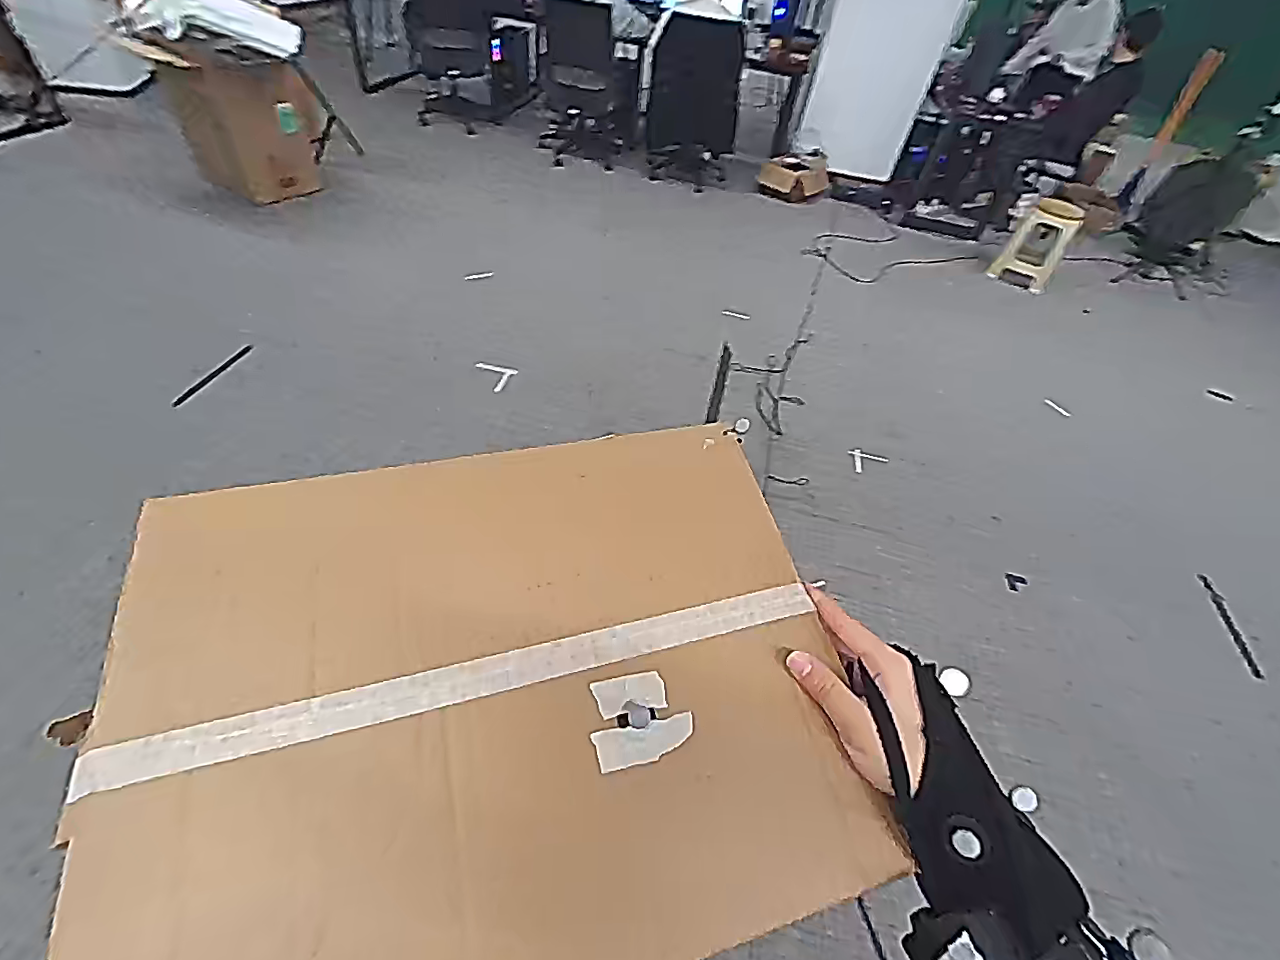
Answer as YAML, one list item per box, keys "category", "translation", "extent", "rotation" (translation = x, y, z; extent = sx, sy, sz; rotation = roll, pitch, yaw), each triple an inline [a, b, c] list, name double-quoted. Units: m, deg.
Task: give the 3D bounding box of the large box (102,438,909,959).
- category: "large box"
  translation: [-0.094, 0.199, 0.453]
  extent: [0.408, 0.320, 0.320]
  rotation: [-8, 60, -16]
